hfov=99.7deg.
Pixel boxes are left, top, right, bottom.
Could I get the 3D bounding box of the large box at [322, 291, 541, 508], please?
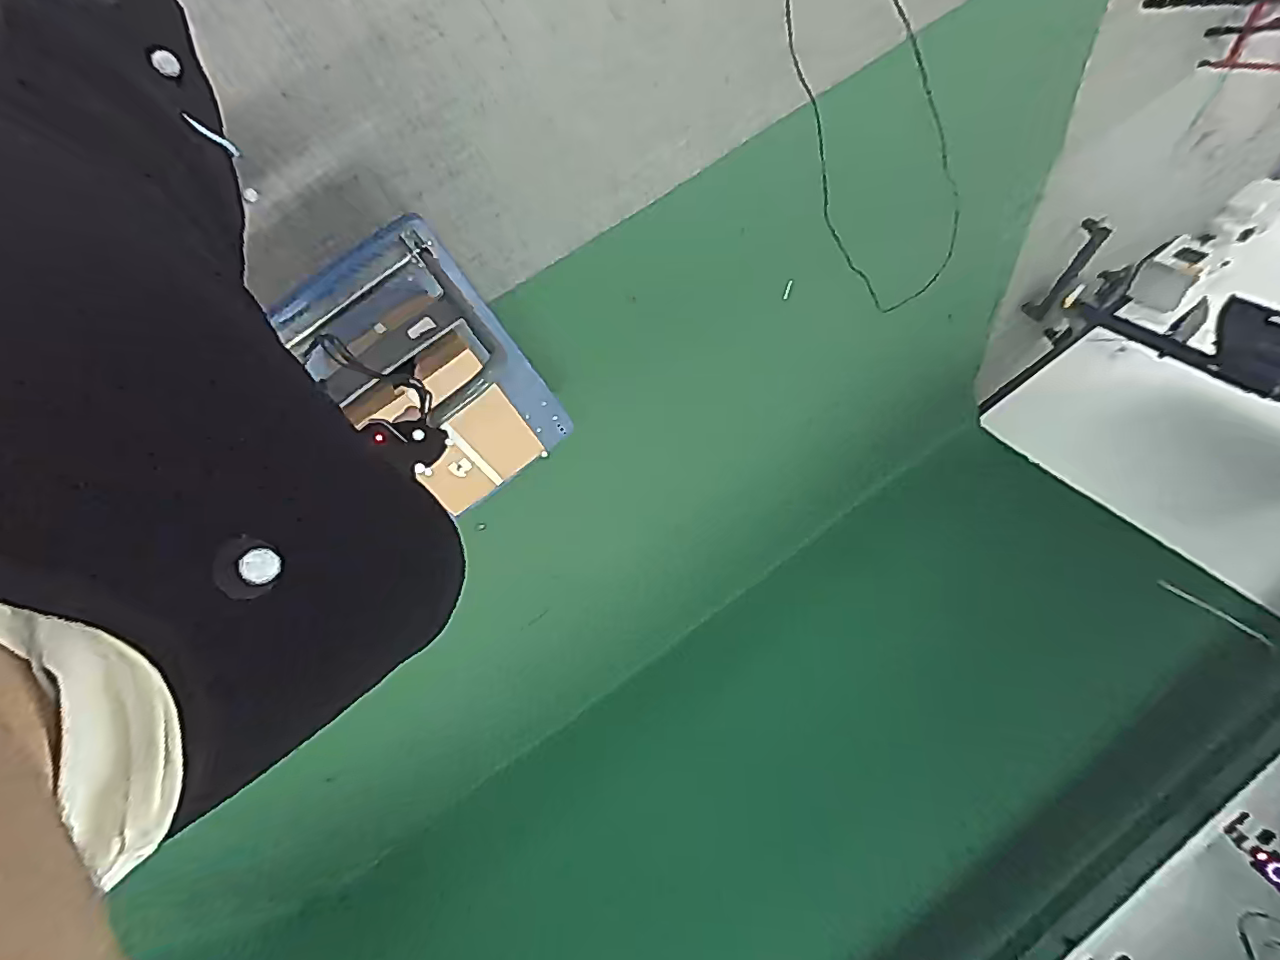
[{"bbox_3d":[-0.534,-0.203,1.423,0.320,0.320,0.408,-36,144,-5],"label":"large box"}]
